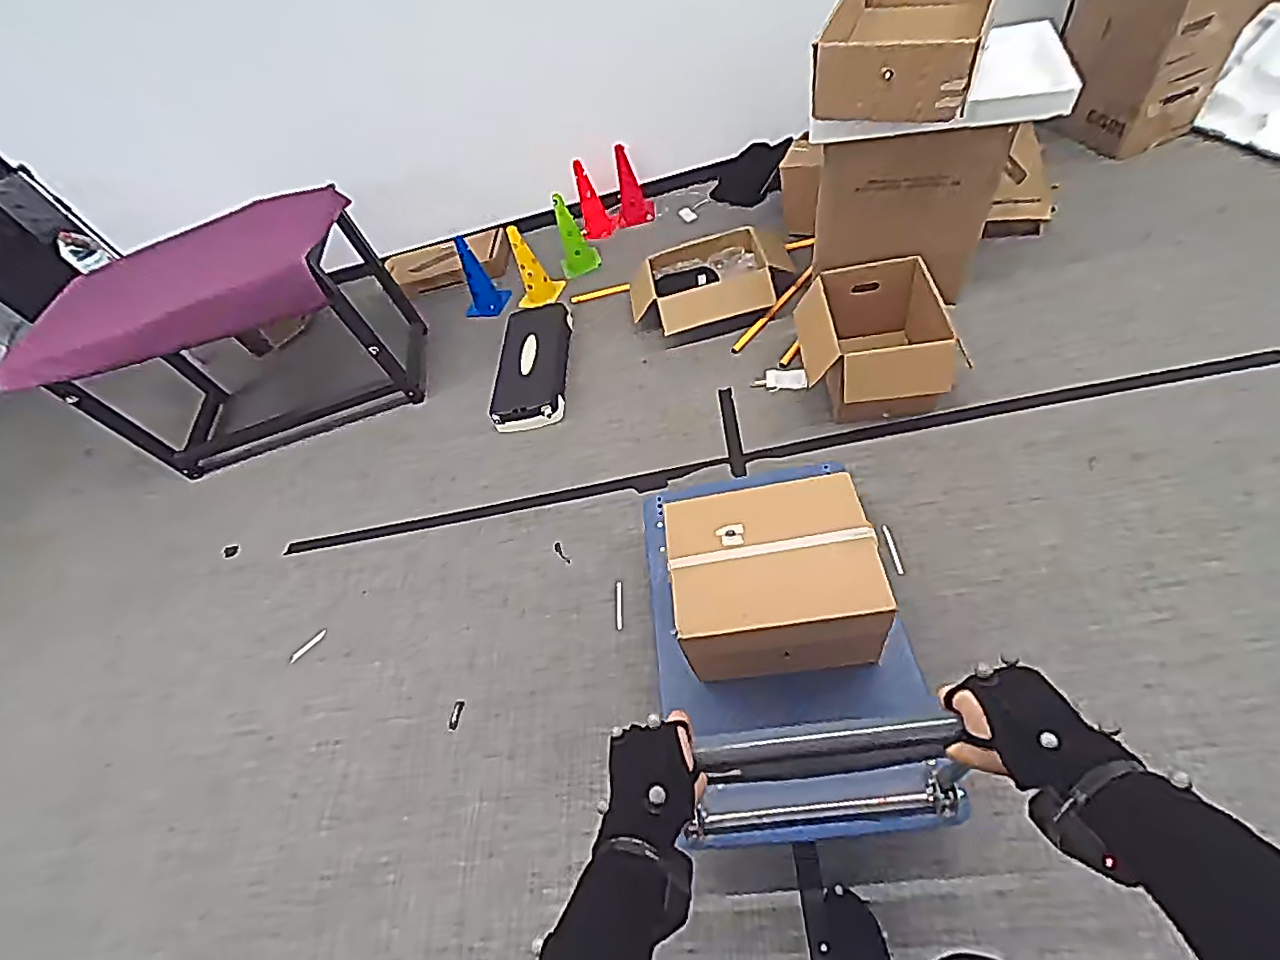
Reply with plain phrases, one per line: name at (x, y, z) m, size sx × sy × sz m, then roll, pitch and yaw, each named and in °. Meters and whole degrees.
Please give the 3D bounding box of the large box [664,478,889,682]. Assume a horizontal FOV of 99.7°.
large box at (0.294, 0.240, 1.225) m, size 0.408 × 0.320 × 0.320 m, roll -12°, pitch 52°, yaw 10°
